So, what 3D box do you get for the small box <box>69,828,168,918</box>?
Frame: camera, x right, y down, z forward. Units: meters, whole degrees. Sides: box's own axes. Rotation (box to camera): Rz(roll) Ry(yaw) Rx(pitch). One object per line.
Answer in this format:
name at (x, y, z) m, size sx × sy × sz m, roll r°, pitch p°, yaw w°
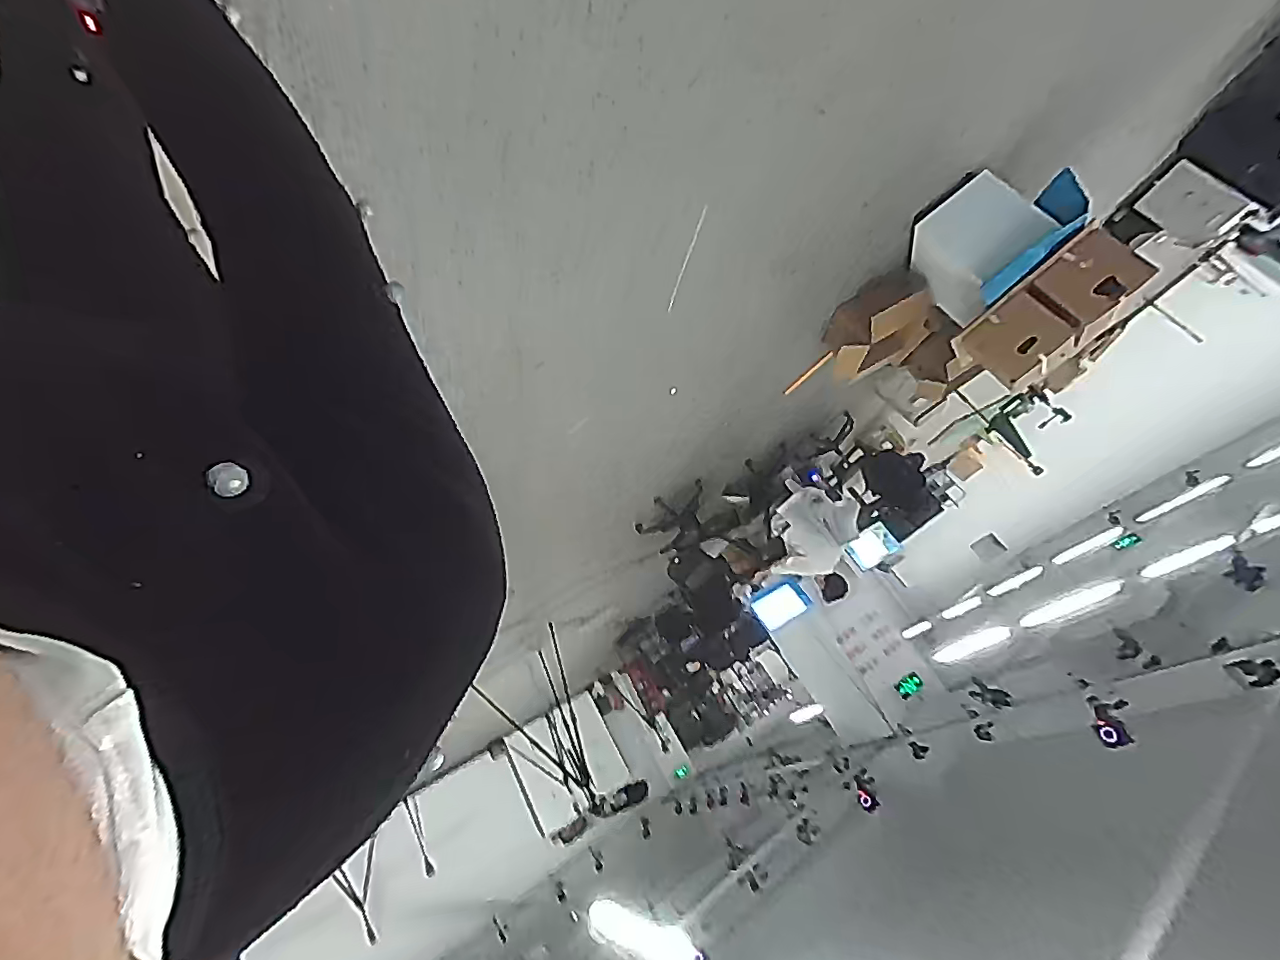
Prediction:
small box at (-1.645, 1.231, 1.708) m, size 0.168 × 0.176 × 0.179 m, roll -23°, pitch 156°, yaw -28°
